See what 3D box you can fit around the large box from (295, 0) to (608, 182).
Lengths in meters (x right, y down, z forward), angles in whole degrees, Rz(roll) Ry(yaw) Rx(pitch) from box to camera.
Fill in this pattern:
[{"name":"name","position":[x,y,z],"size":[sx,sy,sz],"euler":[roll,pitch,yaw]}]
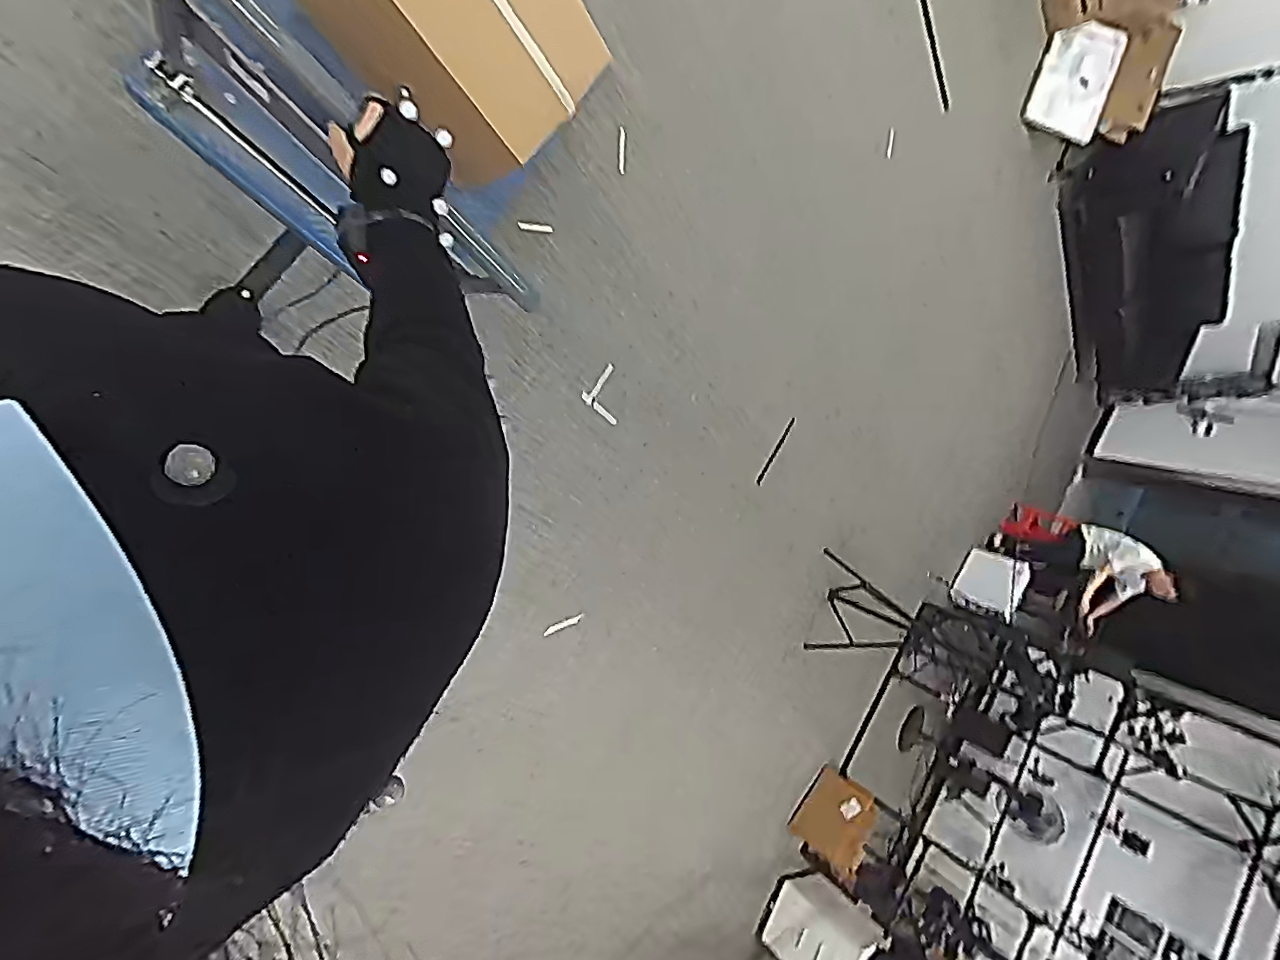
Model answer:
[{"name":"large box","position":[-0.346,-0.858,1.015],"size":[0.408,0.320,0.320],"euler":[43,75,-39]}]
